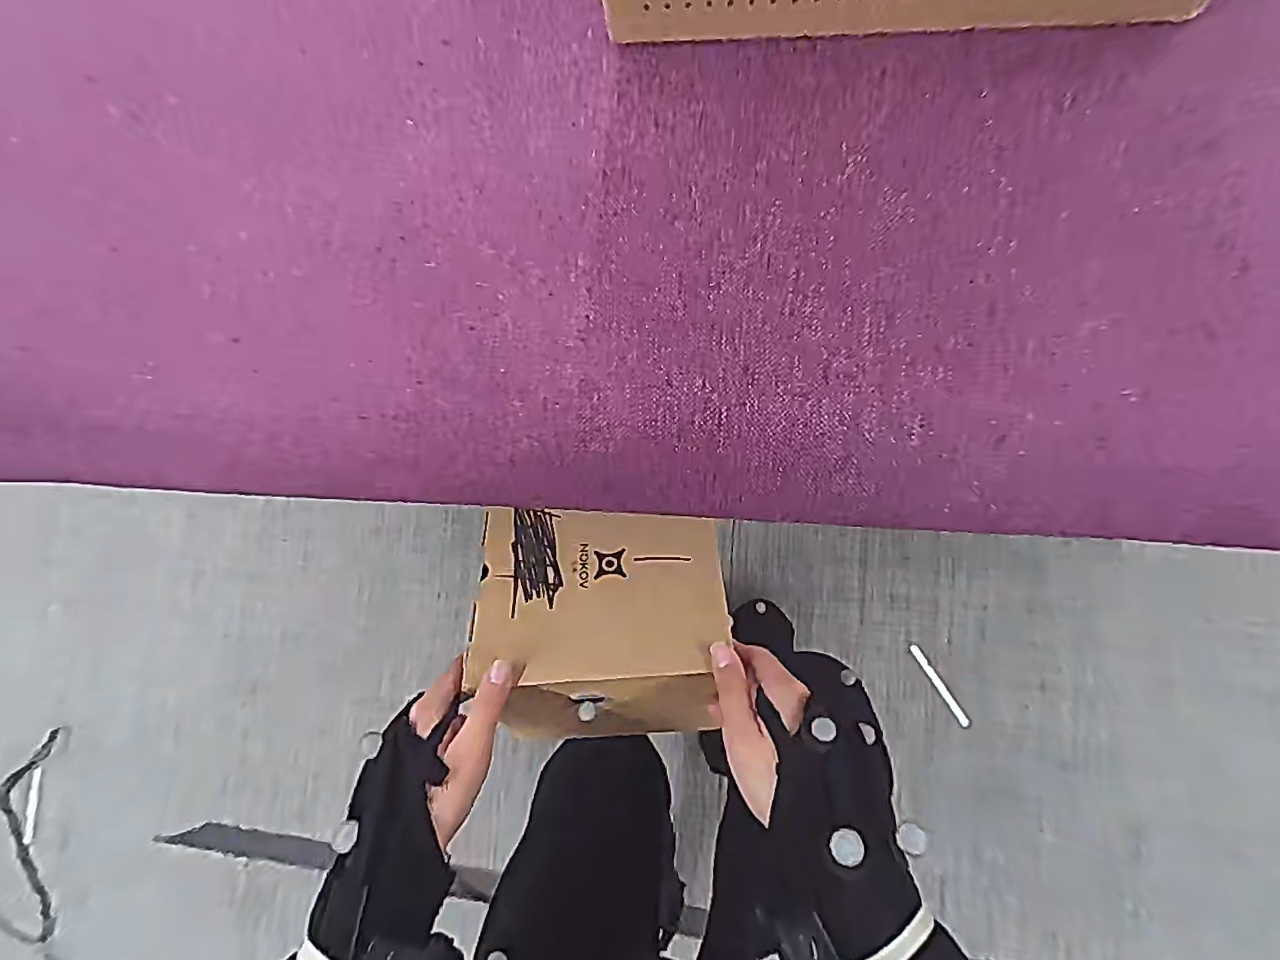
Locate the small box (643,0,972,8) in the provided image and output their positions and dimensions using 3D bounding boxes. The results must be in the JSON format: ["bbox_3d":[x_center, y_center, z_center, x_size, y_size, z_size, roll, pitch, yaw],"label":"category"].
[{"bbox_3d":[0.077,-0.235,0.097,0.179,0.176,0.168,4,85,7],"label":"small box"}]

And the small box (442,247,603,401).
[{"bbox_3d":[-0.151,-0.206,0.750,0.179,0.176,0.168,3,88,7],"label":"small box"}]

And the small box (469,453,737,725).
[{"bbox_3d":[-0.023,0.098,0.453,0.179,0.176,0.168,-4,54,0],"label":"small box"}]
